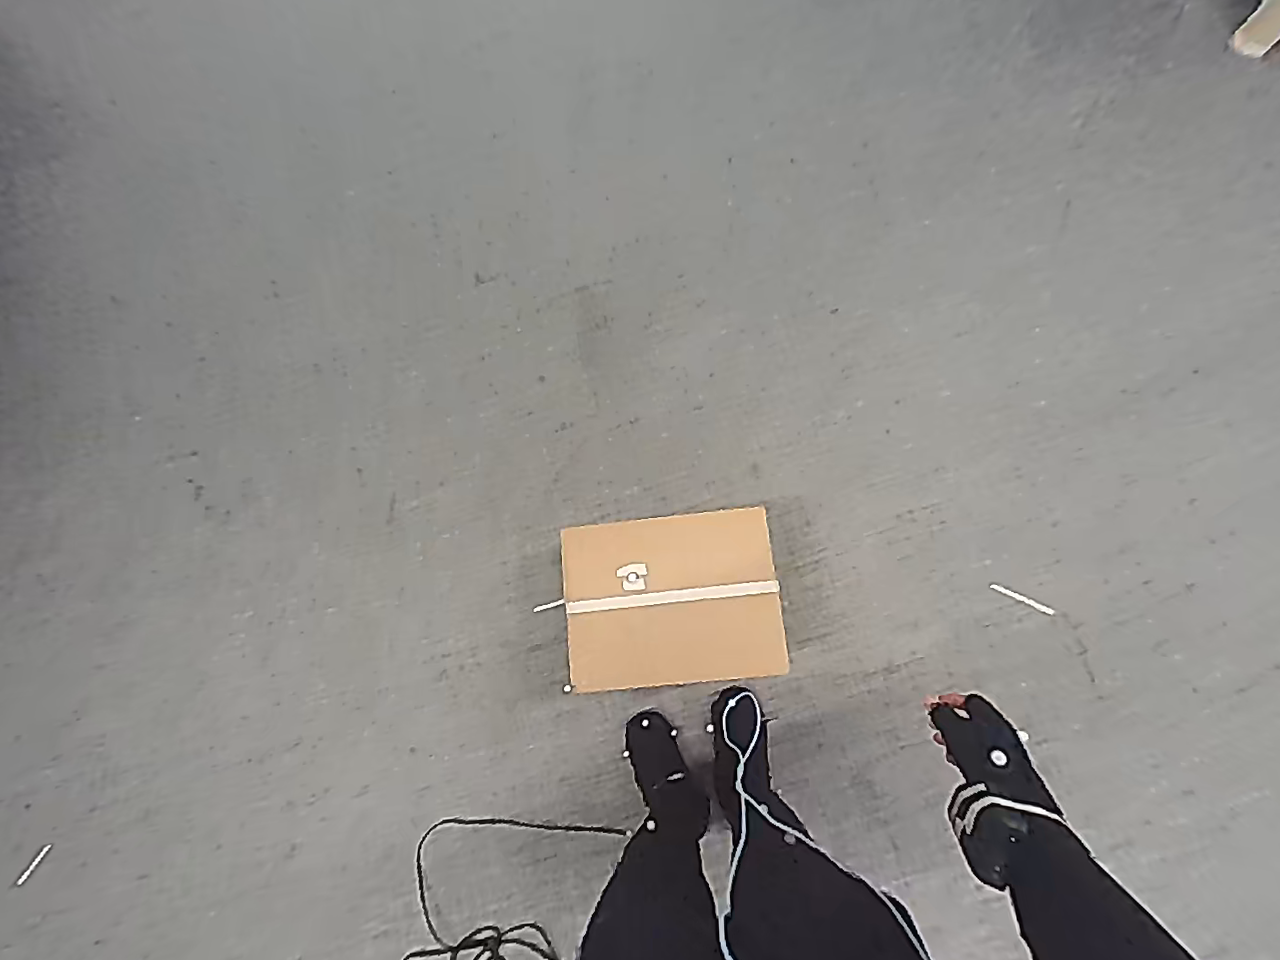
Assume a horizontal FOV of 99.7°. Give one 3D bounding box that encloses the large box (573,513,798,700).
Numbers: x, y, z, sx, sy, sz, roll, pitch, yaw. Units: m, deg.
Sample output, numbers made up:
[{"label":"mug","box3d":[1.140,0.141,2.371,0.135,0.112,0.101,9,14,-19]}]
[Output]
[{"label":"large box","box3d":[0.095,0.271,1.179,0.408,0.320,0.320,-8,76,5]}]
